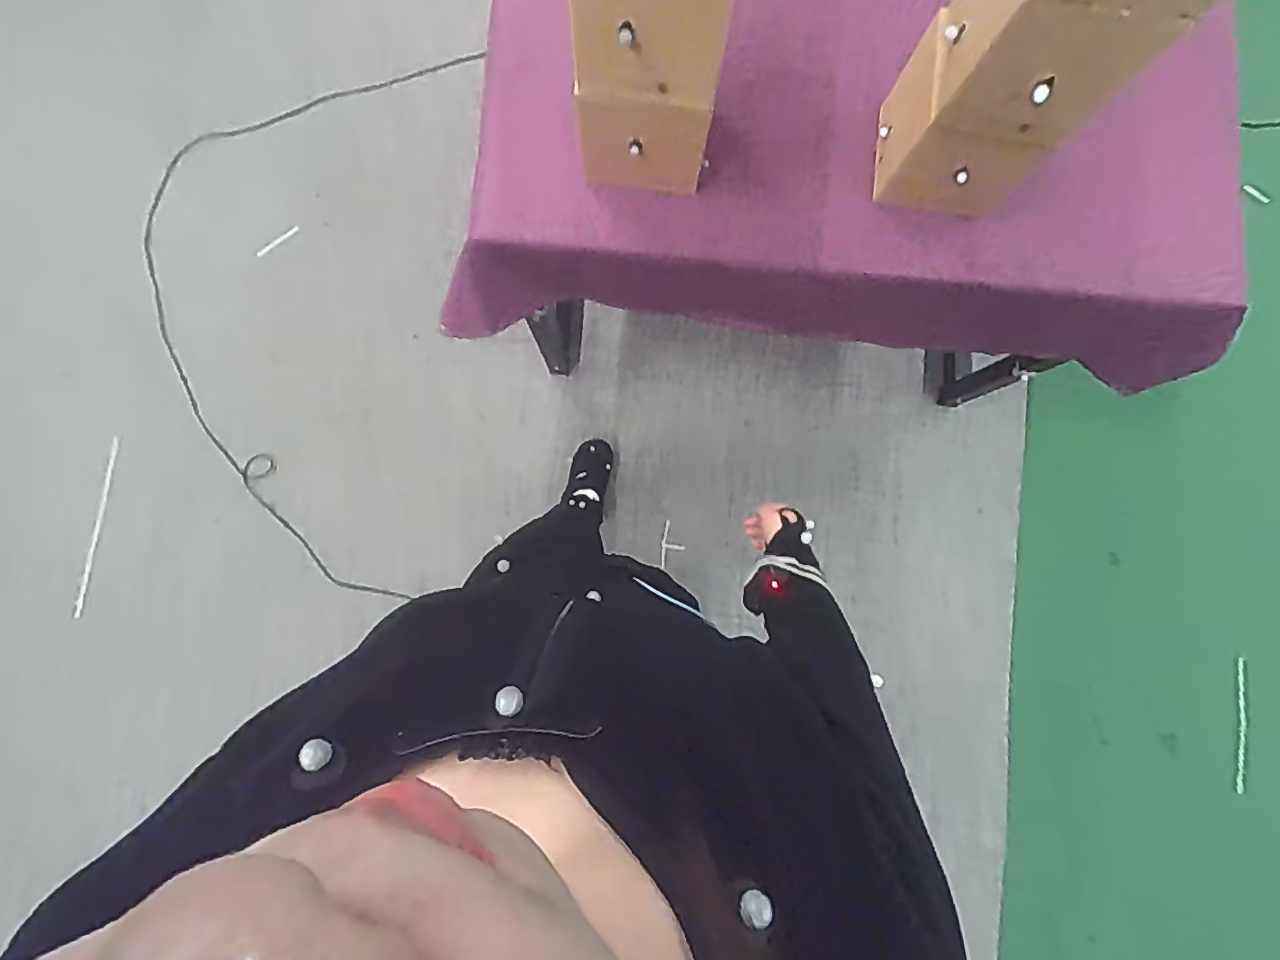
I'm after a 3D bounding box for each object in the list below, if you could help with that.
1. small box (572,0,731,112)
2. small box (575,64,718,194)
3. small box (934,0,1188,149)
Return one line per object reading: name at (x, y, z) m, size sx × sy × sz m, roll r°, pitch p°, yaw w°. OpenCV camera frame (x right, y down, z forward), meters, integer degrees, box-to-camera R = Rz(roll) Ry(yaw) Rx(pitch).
small box at (0.020, -0.553, 0.597) m, size 0.168 × 0.176 × 0.179 m, roll 8°, pitch 82°, yaw -2°
small box at (0.011, -0.533, 0.758) m, size 0.179 × 0.176 × 0.168 m, roll 6°, pitch 83°, yaw -1°
small box at (0.463, -0.517, 0.610) m, size 0.168 × 0.176 × 0.179 m, roll 11°, pitch 84°, yaw -1°
